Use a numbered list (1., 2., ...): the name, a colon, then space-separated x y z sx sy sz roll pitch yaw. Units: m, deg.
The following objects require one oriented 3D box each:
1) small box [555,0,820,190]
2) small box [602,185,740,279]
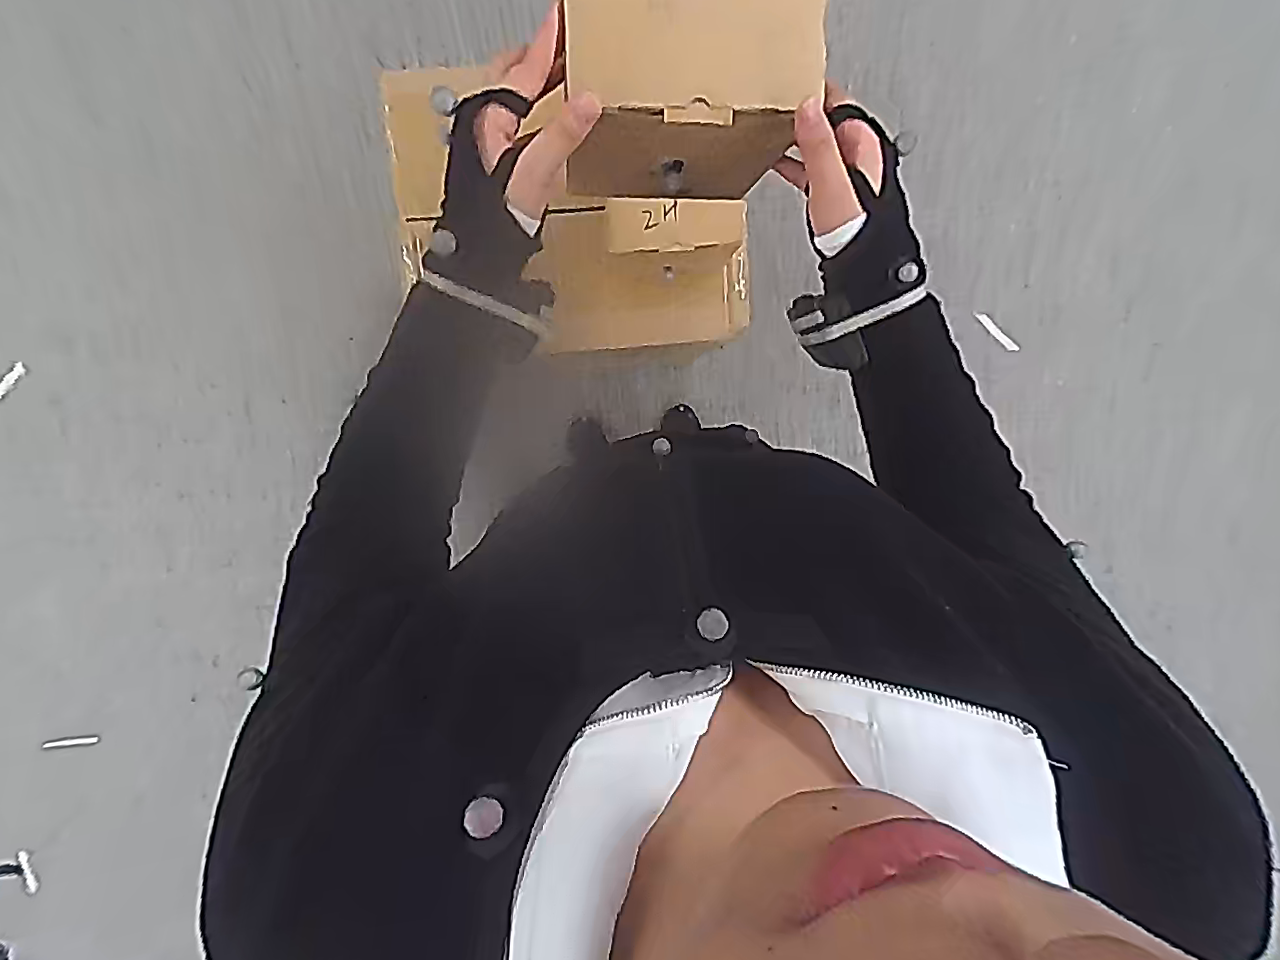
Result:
1. small box: 0.021 -0.330 0.401 0.168 0.176 0.179 -4 102 -7
2. small box: 0.033 -0.383 0.728 0.168 0.176 0.179 -5 100 0
